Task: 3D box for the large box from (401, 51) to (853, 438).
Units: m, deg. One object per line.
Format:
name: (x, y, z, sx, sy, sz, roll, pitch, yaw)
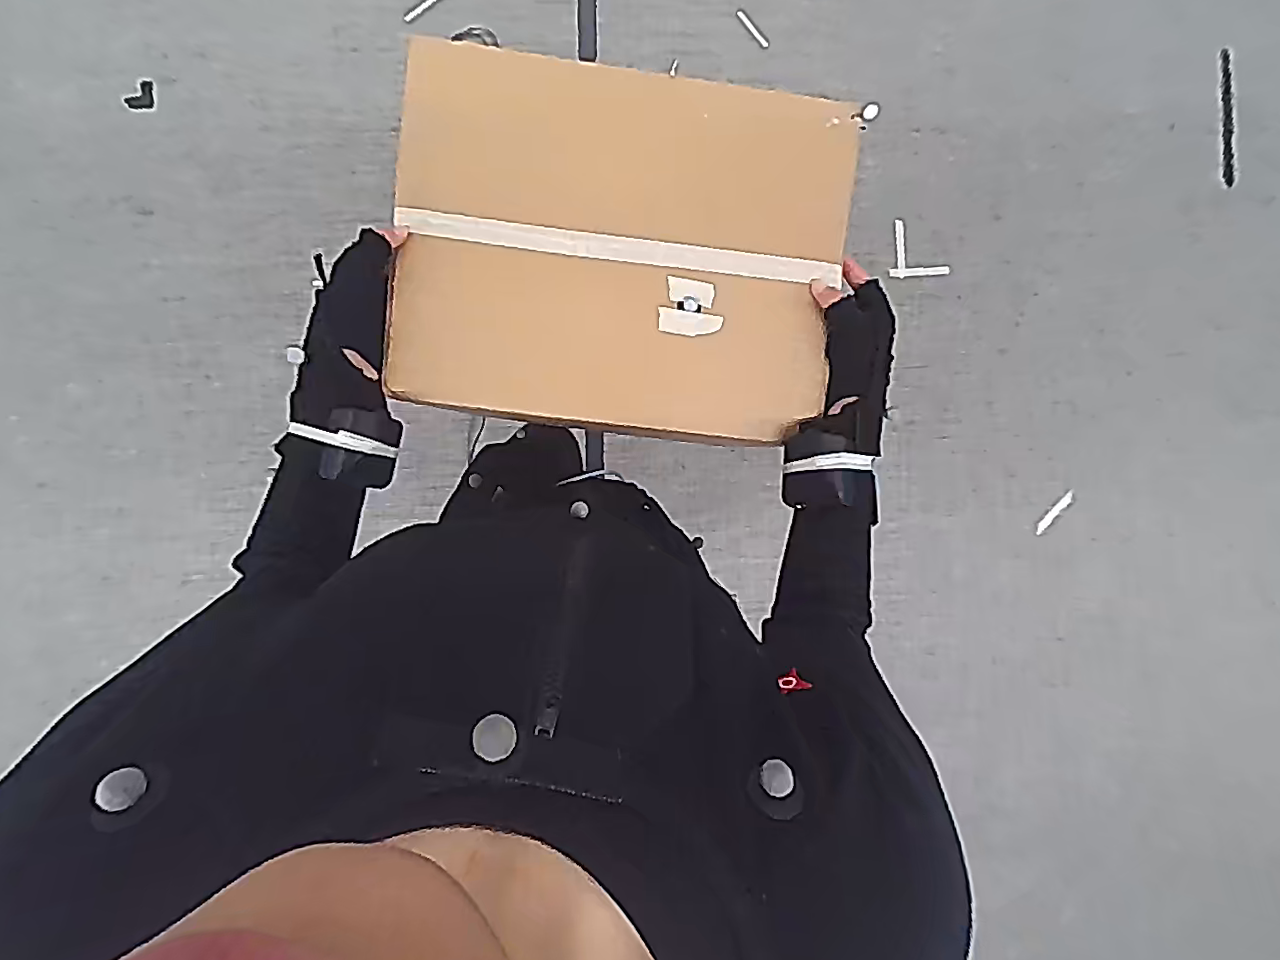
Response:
large box: (-0.021, -0.224, 0.651, 0.408, 0.320, 0.320, 7, 94, -4)
